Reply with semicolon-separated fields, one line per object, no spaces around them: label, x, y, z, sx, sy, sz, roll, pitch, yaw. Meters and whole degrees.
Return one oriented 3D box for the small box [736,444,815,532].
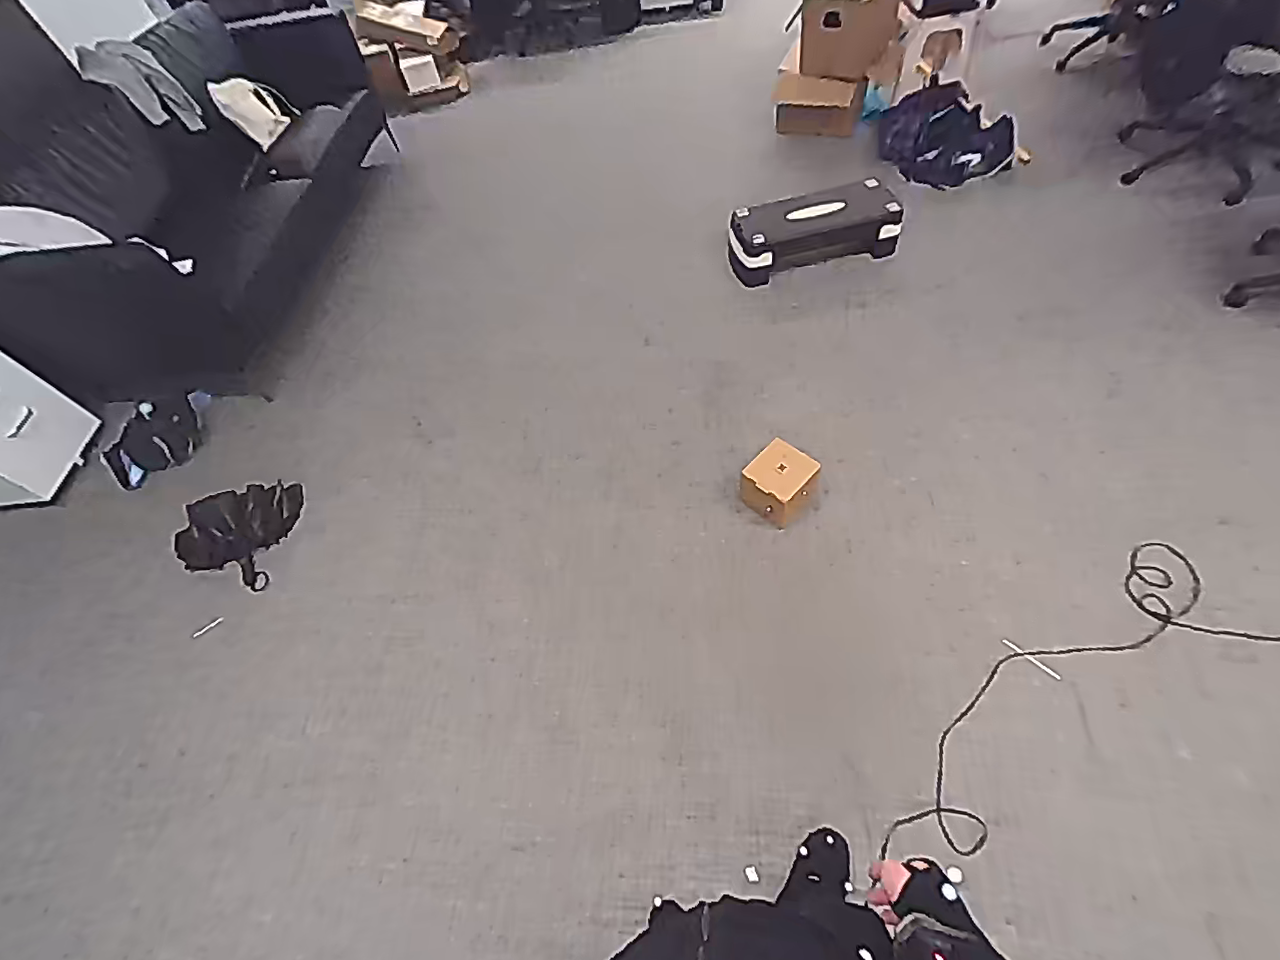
small box;0.414;0.029;1.678;0.168;0.176;0.179;37;67;27
